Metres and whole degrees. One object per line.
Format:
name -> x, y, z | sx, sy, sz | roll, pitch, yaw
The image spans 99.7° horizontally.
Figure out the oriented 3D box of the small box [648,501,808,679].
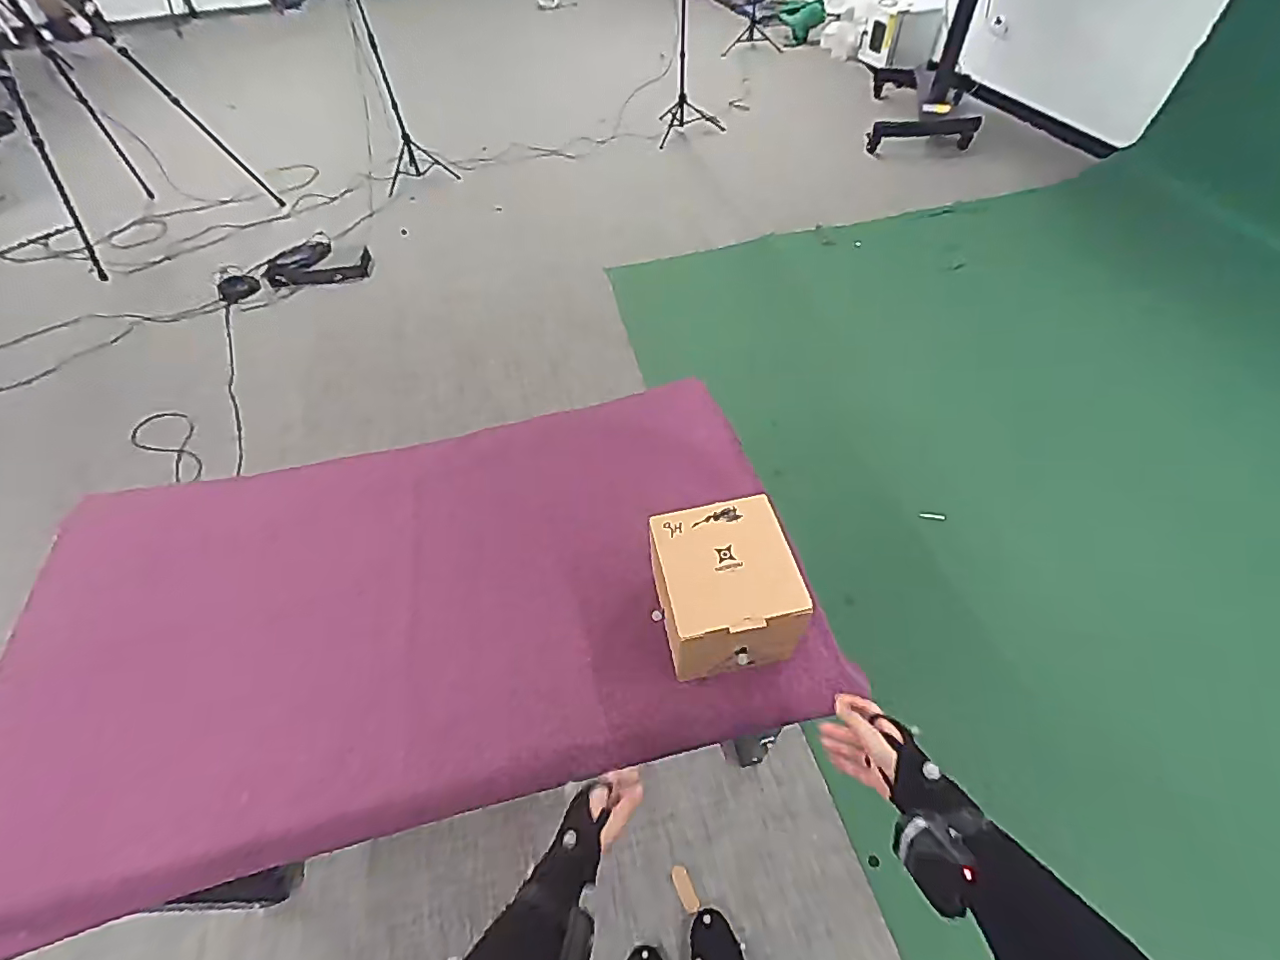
small box -> 0.110, 0.157, 0.738 | 0.168, 0.176, 0.179 | -11, 54, -4
